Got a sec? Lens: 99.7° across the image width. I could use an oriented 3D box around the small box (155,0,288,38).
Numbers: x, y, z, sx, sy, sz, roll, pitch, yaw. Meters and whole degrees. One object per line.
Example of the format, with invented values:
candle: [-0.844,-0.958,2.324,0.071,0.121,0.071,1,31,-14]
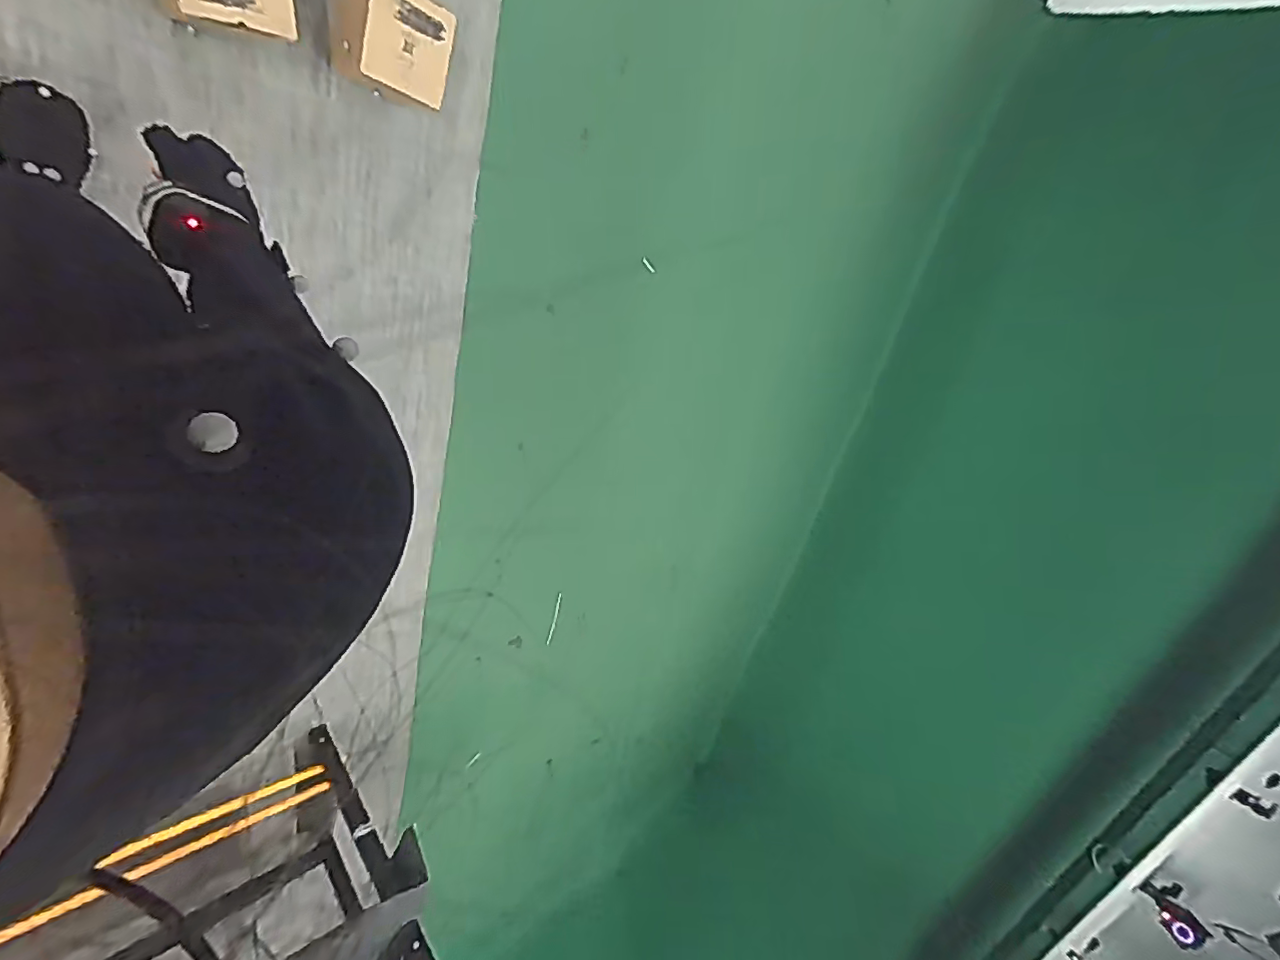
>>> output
small box: [-0.710,-0.861,0.893,0.168,0.176,0.179,-19,130,-41]
